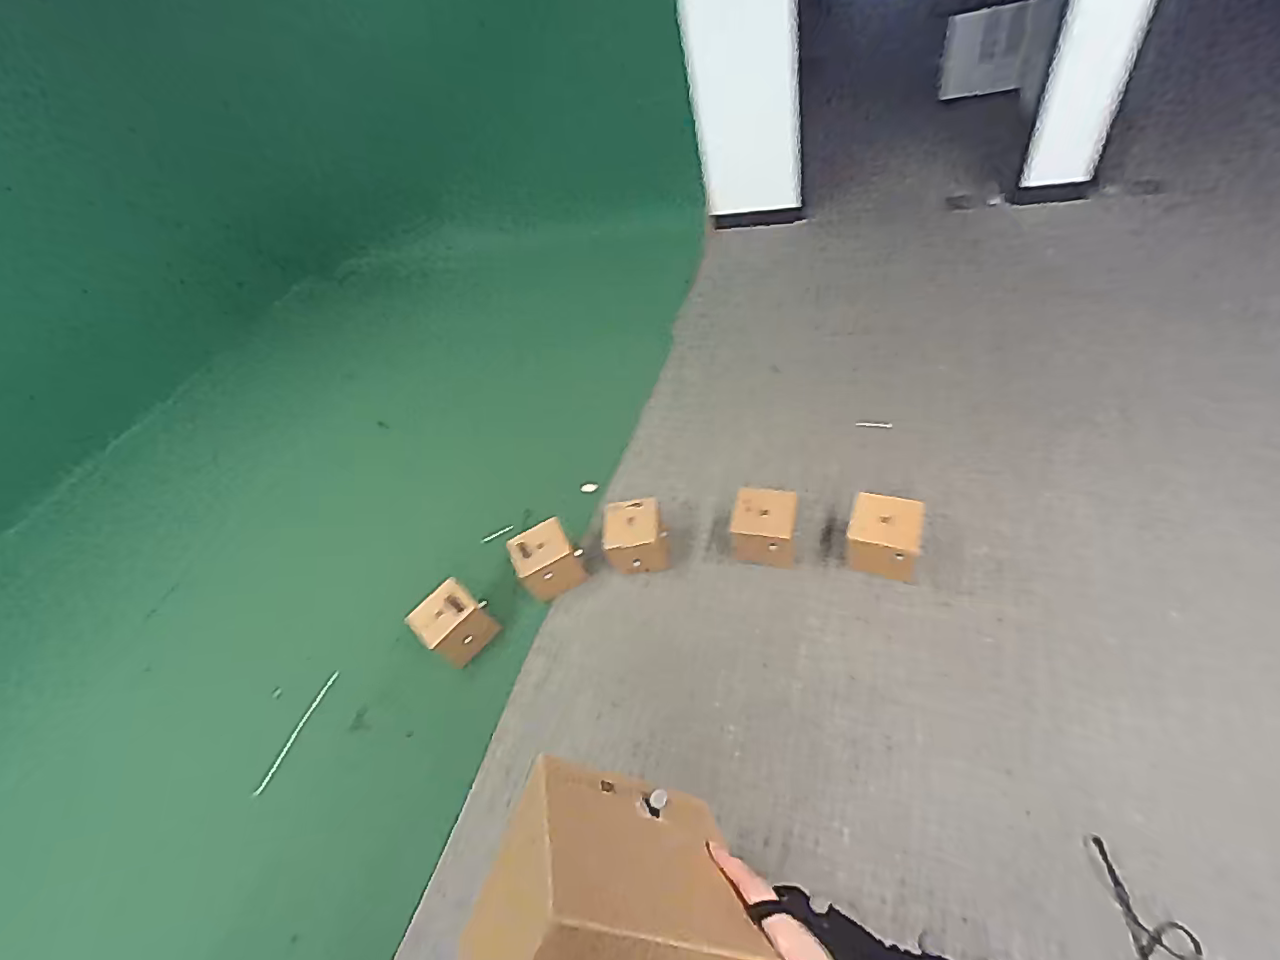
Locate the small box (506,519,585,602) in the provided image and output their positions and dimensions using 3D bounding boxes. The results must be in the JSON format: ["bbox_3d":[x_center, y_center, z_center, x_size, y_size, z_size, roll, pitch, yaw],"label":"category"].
[{"bbox_3d":[-0.305,0.266,1.756,0.179,0.176,0.168,-28,48,-7],"label":"small box"}]

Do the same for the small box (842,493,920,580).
[{"bbox_3d":[0.675,0.161,1.525,0.179,0.176,0.168,10,55,24],"label":"small box"}]

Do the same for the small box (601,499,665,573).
[{"bbox_3d":[-0.017,0.187,1.728,0.168,0.176,0.179,-9,50,12],"label":"small box"}]

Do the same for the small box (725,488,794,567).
[{"bbox_3d":[0.368,0.147,1.634,0.179,0.176,0.168,5,53,21],"label":"small box"}]

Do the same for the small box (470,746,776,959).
[{"bbox_3d":[-0.028,0.351,0.419,0.179,0.168,0.176,-66,13,1],"label":"small box"}]
